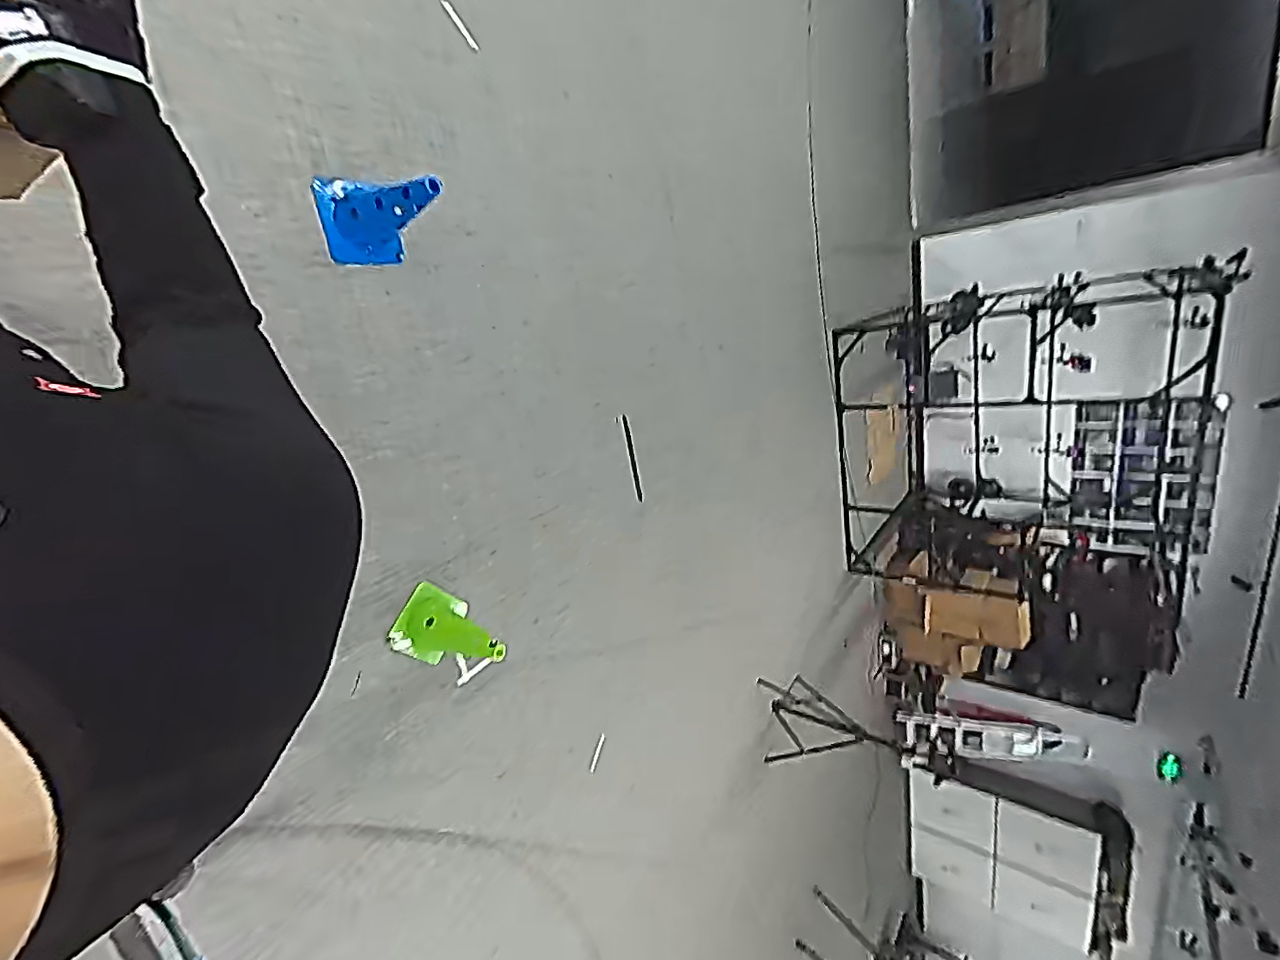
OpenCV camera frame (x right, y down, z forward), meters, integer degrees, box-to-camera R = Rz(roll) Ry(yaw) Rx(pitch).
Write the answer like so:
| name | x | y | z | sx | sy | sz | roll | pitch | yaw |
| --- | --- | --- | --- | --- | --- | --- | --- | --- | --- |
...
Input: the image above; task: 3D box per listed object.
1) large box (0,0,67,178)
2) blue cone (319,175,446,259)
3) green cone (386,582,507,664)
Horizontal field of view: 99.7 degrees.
| name | x | y | z | sx | sy | sz | roll | pitch | yaw |
| --- | --- | --- | --- | --- | --- | --- | --- | --- | --- |
| large box | -0.651 | -0.367 | 0.270 | 0.408 | 0.320 | 0.320 | -27 | 121 | -50 |
| blue cone | -0.601 | -0.672 | 1.317 | 0.192 | 0.380 | 0.193 | -24 | 112 | -48 |
| green cone | -0.502 | 0.437 | 1.516 | 0.200 | 0.368 | 0.202 | 48 | 56 | -42 |
